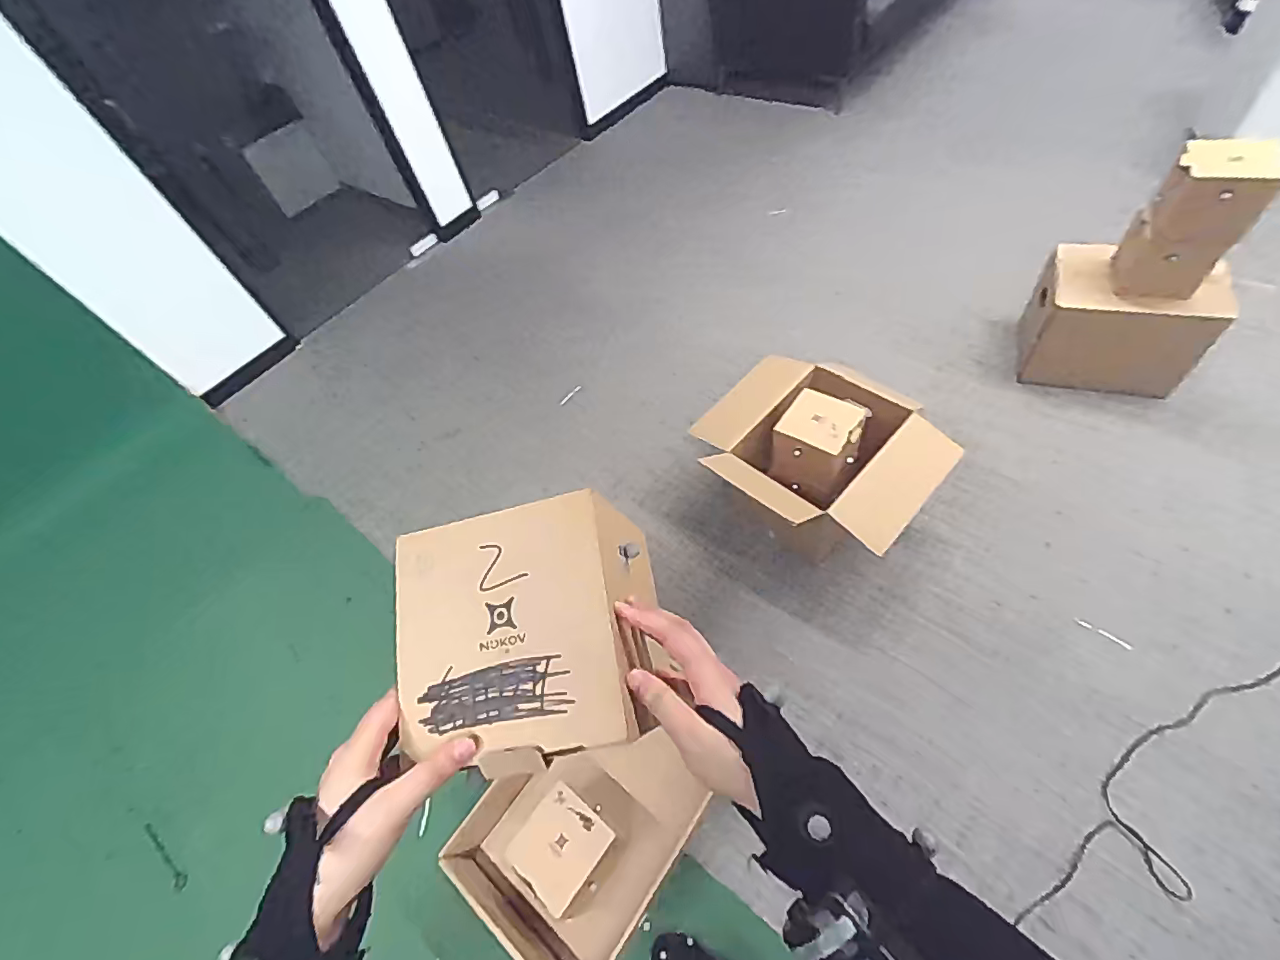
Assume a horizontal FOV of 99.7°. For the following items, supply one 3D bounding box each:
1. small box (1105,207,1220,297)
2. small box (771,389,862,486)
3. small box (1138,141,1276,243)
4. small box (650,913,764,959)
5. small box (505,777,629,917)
[{"bbox_3d":[1.413,-0.622,1.479,0.179,0.176,0.168,12,60,20],"label":"small box"},{"bbox_3d":[0.474,-0.110,1.466,0.179,0.176,0.168,28,68,29],"label":"small box"},{"bbox_3d":[1.394,-0.711,1.344,0.179,0.176,0.168,12,60,21],"label":"small box"},{"bbox_3d":[0.128,0.940,0.990,0.176,0.168,0.179,15,29,-11],"label":"small box"},{"bbox_3d":[-0.142,0.768,1.137,0.168,0.176,0.179,28,64,30],"label":"small box"}]
